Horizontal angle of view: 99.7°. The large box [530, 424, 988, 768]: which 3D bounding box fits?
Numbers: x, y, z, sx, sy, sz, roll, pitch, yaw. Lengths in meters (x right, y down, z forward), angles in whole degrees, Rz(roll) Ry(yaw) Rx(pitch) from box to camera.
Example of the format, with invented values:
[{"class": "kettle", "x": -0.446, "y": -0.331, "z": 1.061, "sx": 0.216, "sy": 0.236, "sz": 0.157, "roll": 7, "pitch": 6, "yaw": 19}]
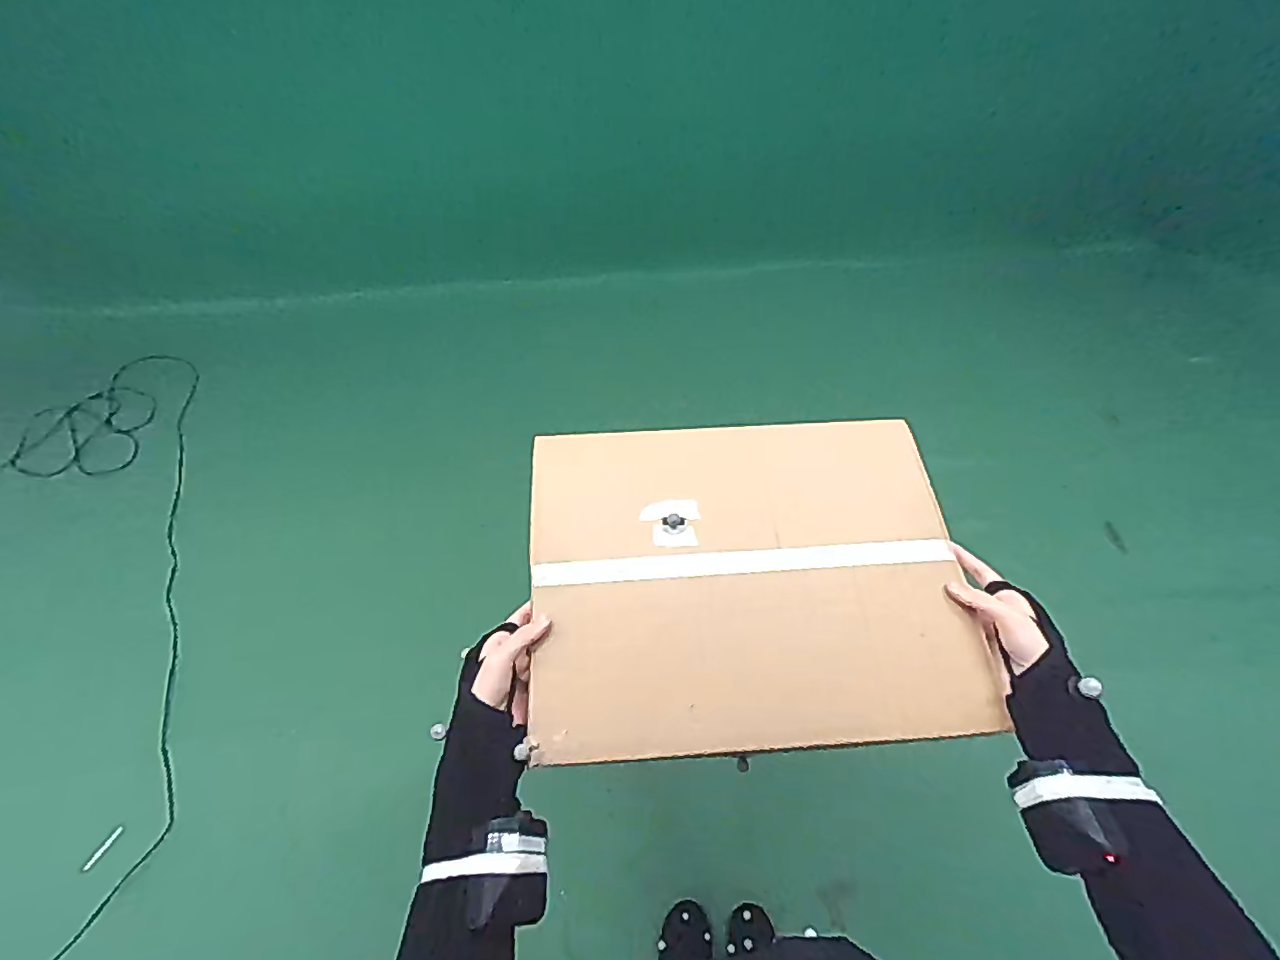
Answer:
[{"class": "large box", "x": 0.095, "y": 0.156, "z": 0.658, "sx": 0.408, "sy": 0.320, "sz": 0.320, "roll": -4, "pitch": 62, "yaw": -2}]
